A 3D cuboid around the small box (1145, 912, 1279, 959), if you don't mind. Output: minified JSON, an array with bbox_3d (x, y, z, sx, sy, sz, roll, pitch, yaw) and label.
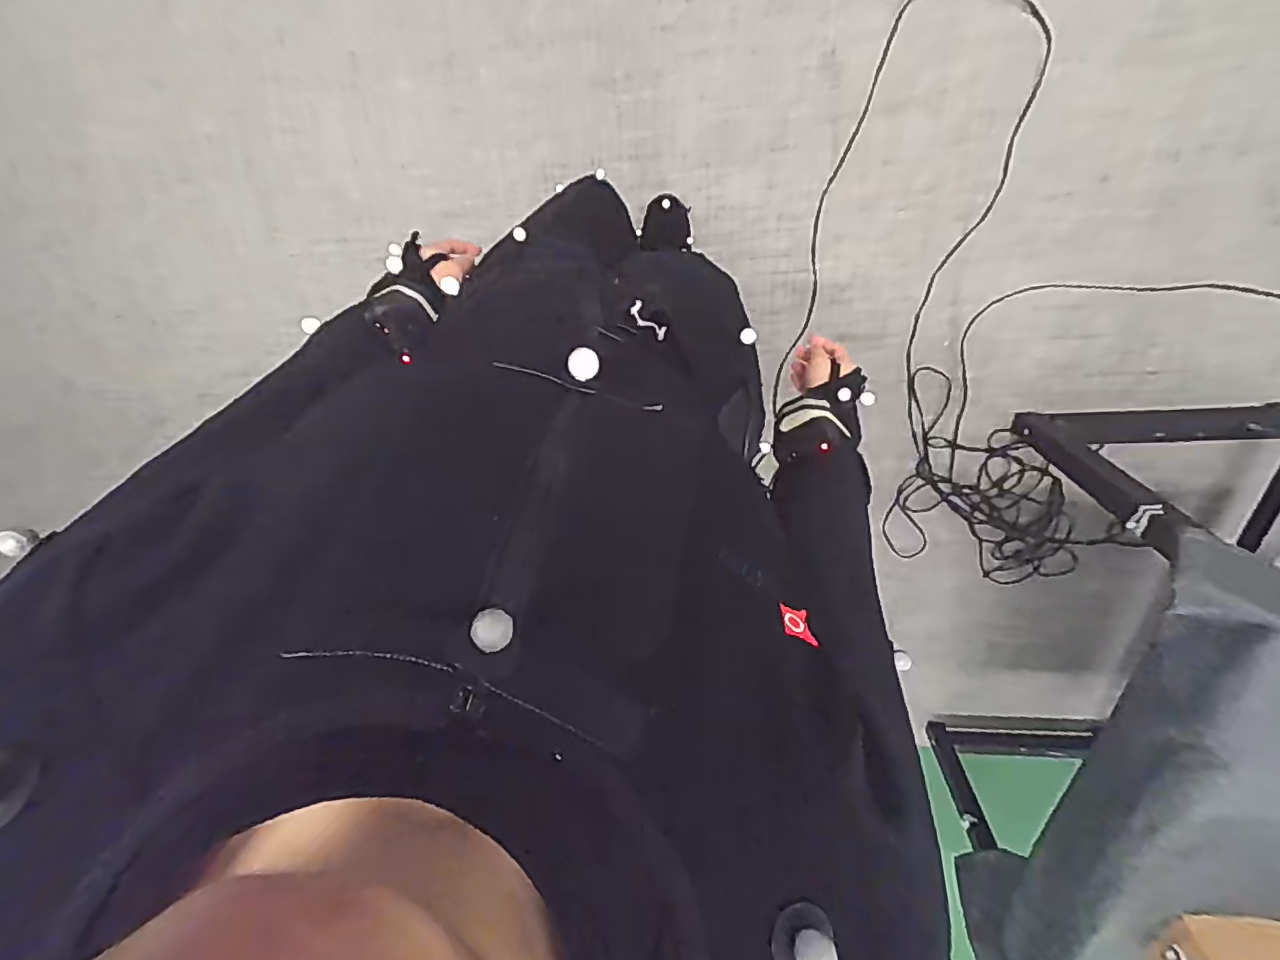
[{"bbox_3d":[1.025,0.863,0.905,0.179,0.176,0.168,0,119,7],"label":"small box"}]
